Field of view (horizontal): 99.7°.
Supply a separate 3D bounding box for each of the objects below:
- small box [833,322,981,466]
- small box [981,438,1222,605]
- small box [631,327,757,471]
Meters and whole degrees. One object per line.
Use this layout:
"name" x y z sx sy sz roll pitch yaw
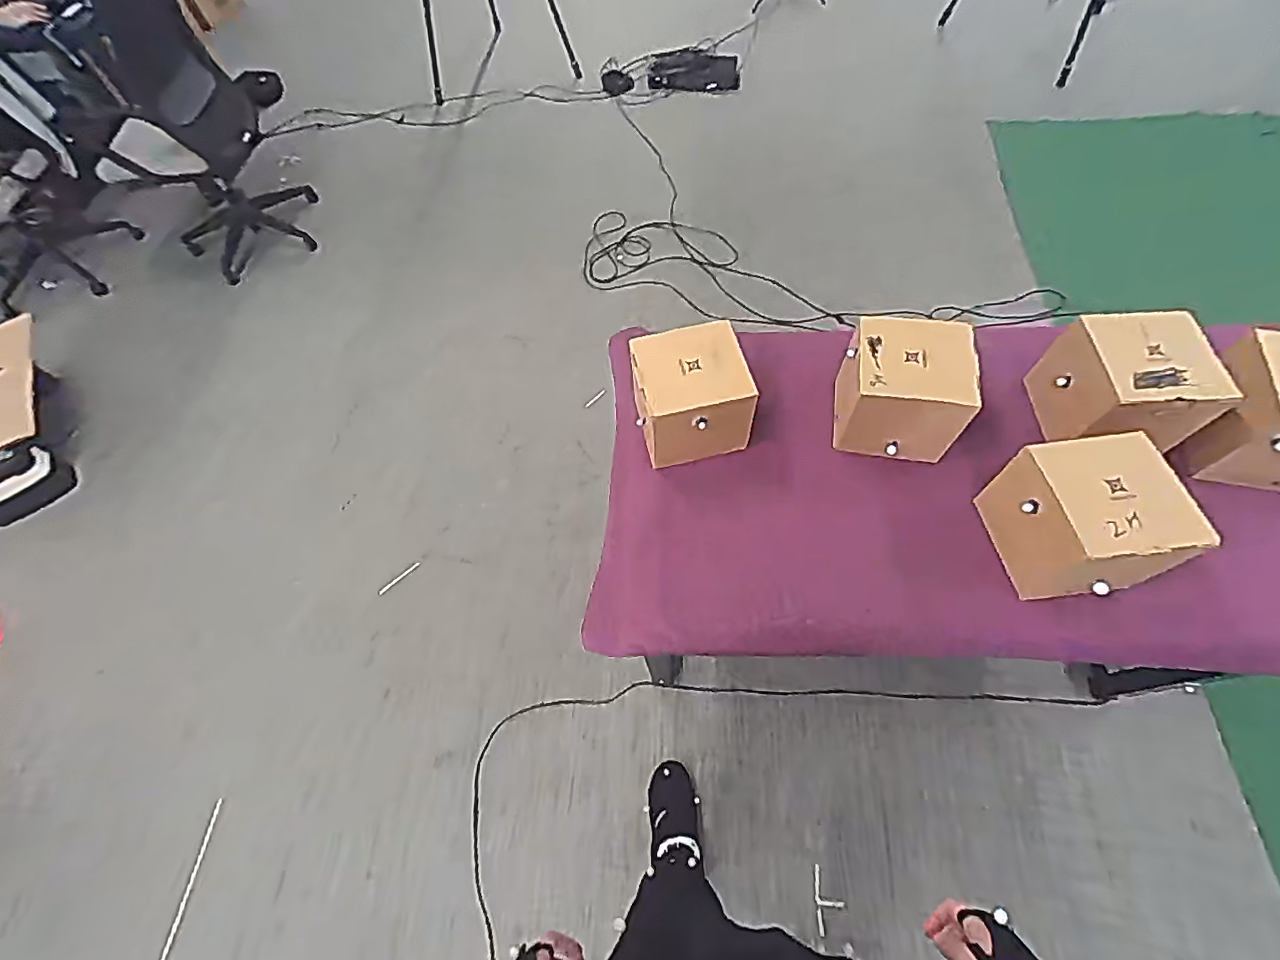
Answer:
"small box" 0.440 -0.139 0.913 0.179 0.176 0.168 8 62 9
"small box" 0.636 0.065 0.779 0.168 0.176 0.179 -7 59 2
"small box" 0.090 -0.133 0.941 0.179 0.176 0.168 -12 62 -2
